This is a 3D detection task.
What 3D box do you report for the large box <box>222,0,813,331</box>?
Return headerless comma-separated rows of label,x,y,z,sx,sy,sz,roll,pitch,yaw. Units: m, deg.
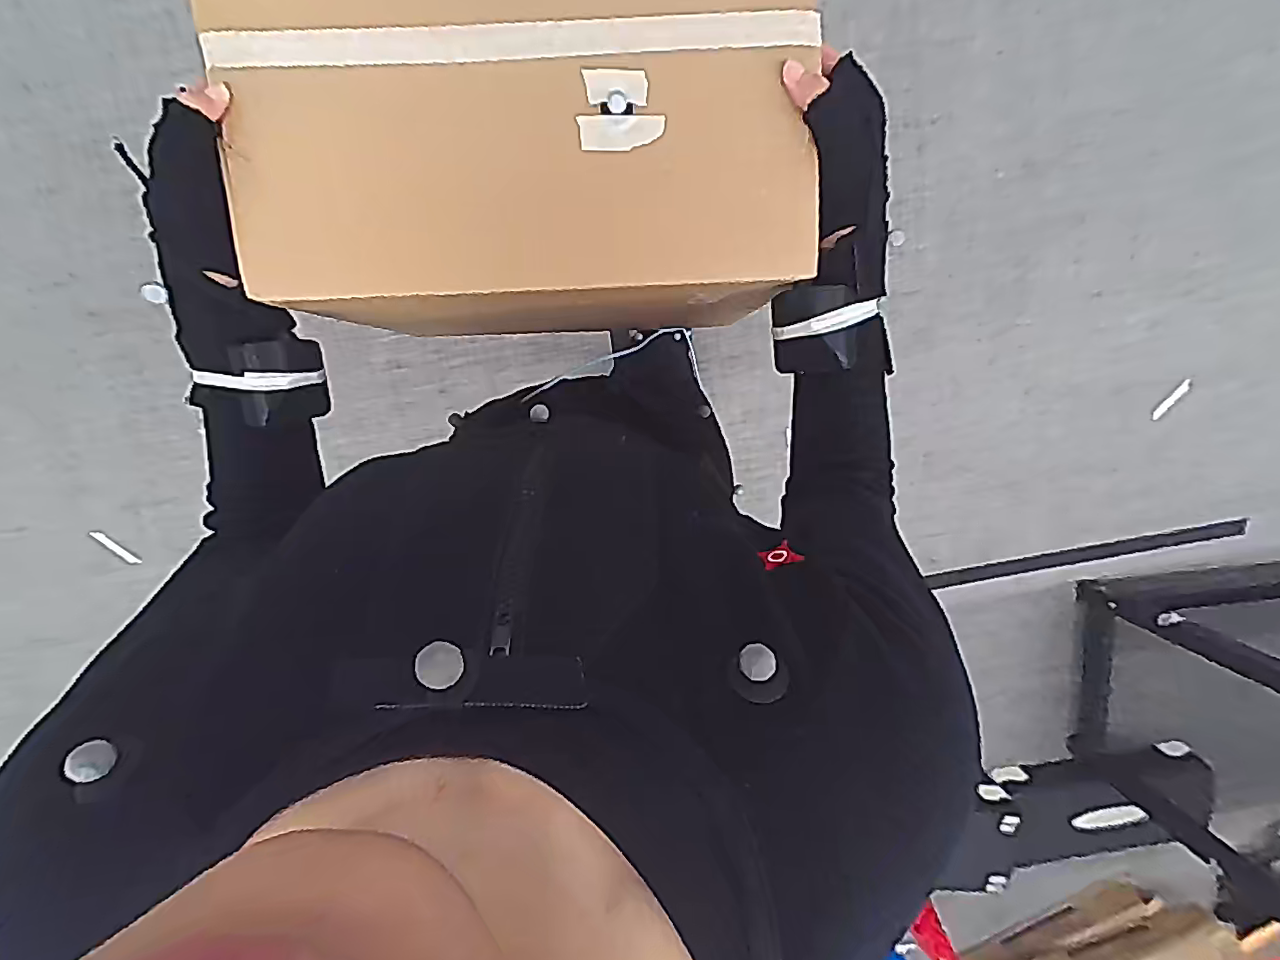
large box,-0.085,-0.324,0.514,0.408,0.320,0.320,-3,101,-2
